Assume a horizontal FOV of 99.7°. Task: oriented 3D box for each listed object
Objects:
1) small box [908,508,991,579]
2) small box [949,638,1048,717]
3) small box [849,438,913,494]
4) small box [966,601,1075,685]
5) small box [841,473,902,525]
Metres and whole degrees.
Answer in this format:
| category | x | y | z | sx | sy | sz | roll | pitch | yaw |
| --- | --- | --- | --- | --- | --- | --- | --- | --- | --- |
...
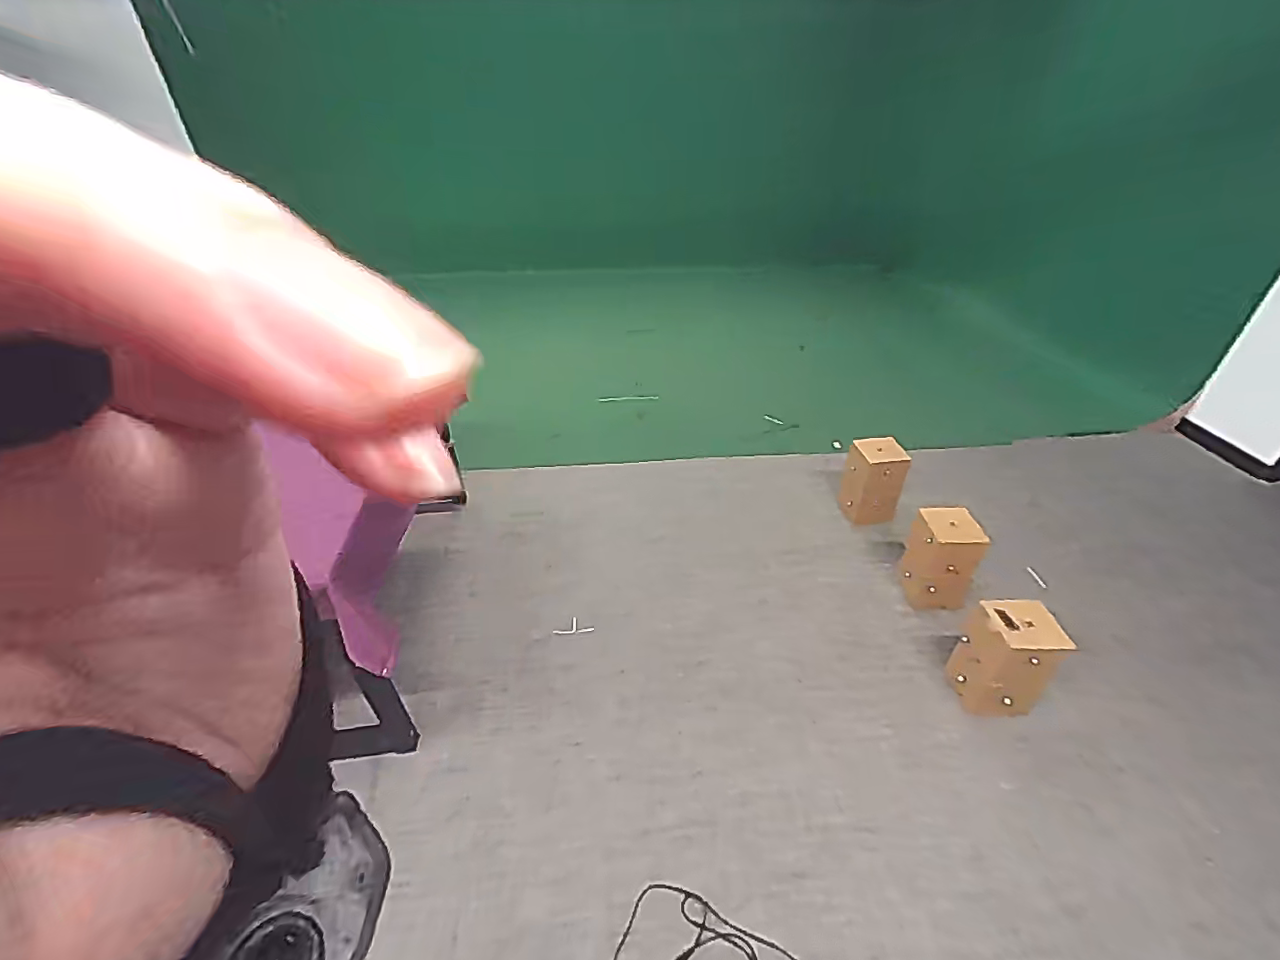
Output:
| category | x | y | z | sx | sy | sz | roll | pitch | yaw |
| --- | --- | --- | --- | --- | --- | --- | --- | --- | --- |
| small box | 1.044 | 0.215 | 1.845 | 0.168 | 0.176 | 0.179 | 0 | 37 | 0 |
| small box | 1.058 | 0.591 | 1.619 | 0.179 | 0.176 | 0.168 | -2 | 38 | 0 |
| small box | 0.969 | -0.055 | 2.202 | 0.179 | 0.176 | 0.168 | -4 | 39 | -5 |
| small box | 1.051 | 0.458 | 1.520 | 0.179 | 0.176 | 0.168 | 0 | 37 | 0 |
| small box | 0.975 | 0.077 | 2.300 | 0.179 | 0.176 | 0.168 | -3 | 38 | -4 |
